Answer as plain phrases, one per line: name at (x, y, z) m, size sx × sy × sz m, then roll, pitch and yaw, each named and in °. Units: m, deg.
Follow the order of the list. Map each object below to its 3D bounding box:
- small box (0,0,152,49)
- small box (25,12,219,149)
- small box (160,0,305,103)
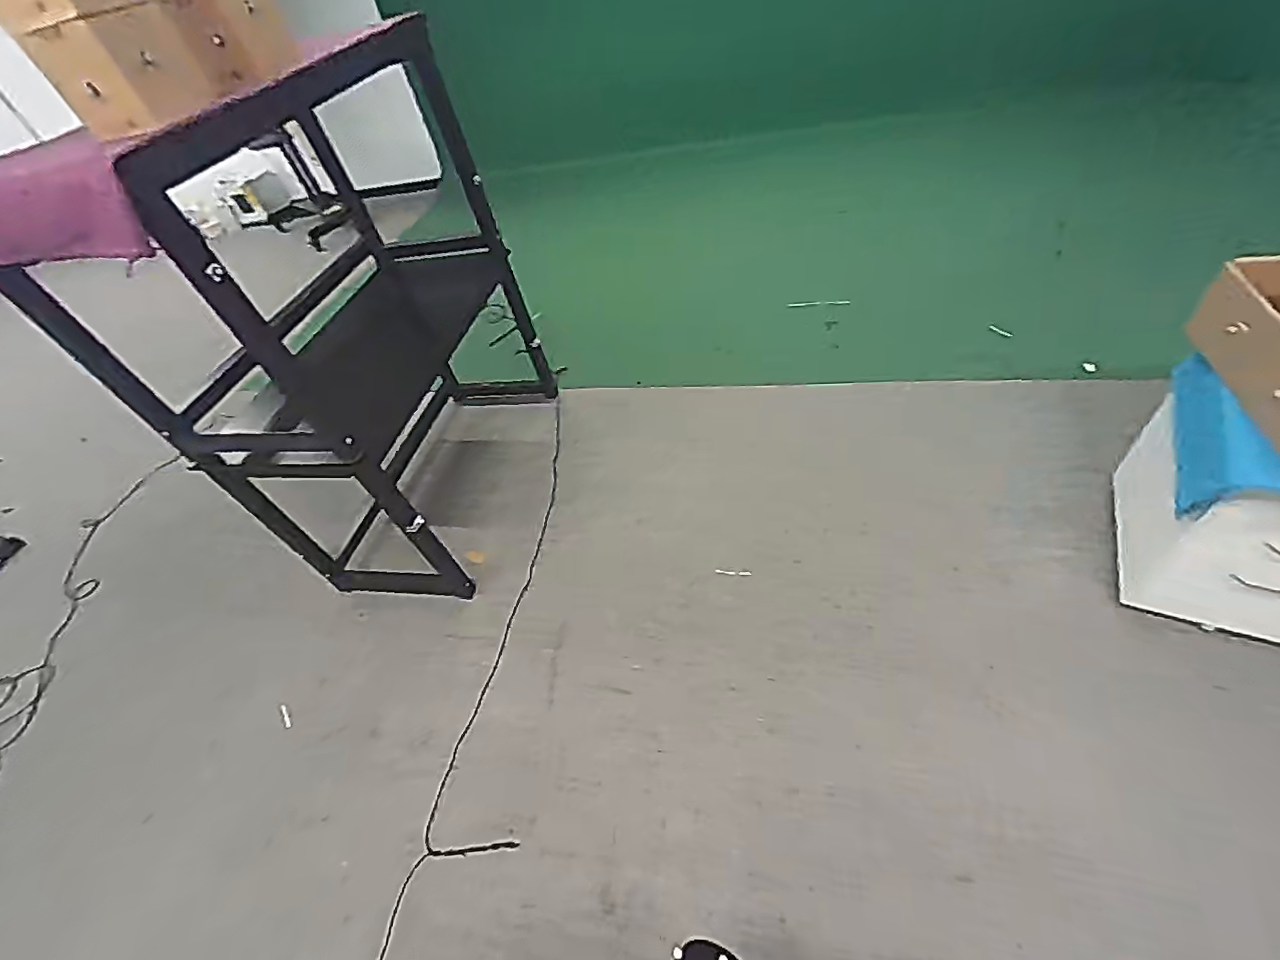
small box at (-1.015, -0.869, 0.927) m, size 0.168 × 0.176 × 0.179 m, roll -2°, pitch 46°, yaw 14°
small box at (-0.979, -0.761, 1.044) m, size 0.168 × 0.176 × 0.179 m, roll -2°, pitch 48°, yaw 13°
small box at (-0.925, -0.996, 1.248) m, size 0.168 × 0.176 × 0.179 m, roll -1°, pitch 48°, yaw 14°
